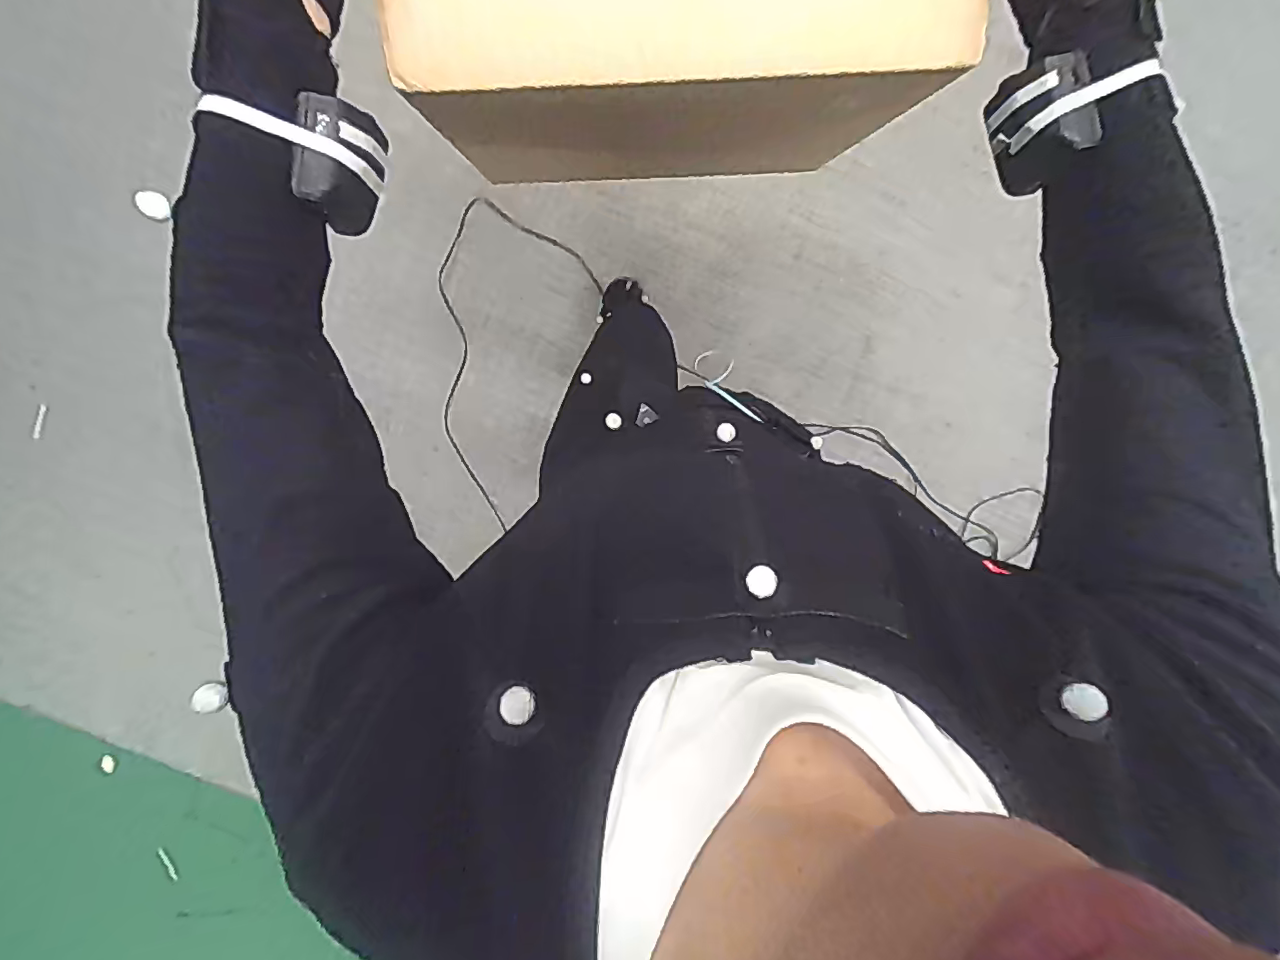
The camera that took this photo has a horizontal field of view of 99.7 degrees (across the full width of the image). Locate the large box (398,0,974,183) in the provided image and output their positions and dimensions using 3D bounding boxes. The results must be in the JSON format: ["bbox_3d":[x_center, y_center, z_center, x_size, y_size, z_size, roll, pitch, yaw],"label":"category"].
[{"bbox_3d":[0.019,-0.475,0.477,0.408,0.320,0.320,-4,108,-3],"label":"large box"}]
